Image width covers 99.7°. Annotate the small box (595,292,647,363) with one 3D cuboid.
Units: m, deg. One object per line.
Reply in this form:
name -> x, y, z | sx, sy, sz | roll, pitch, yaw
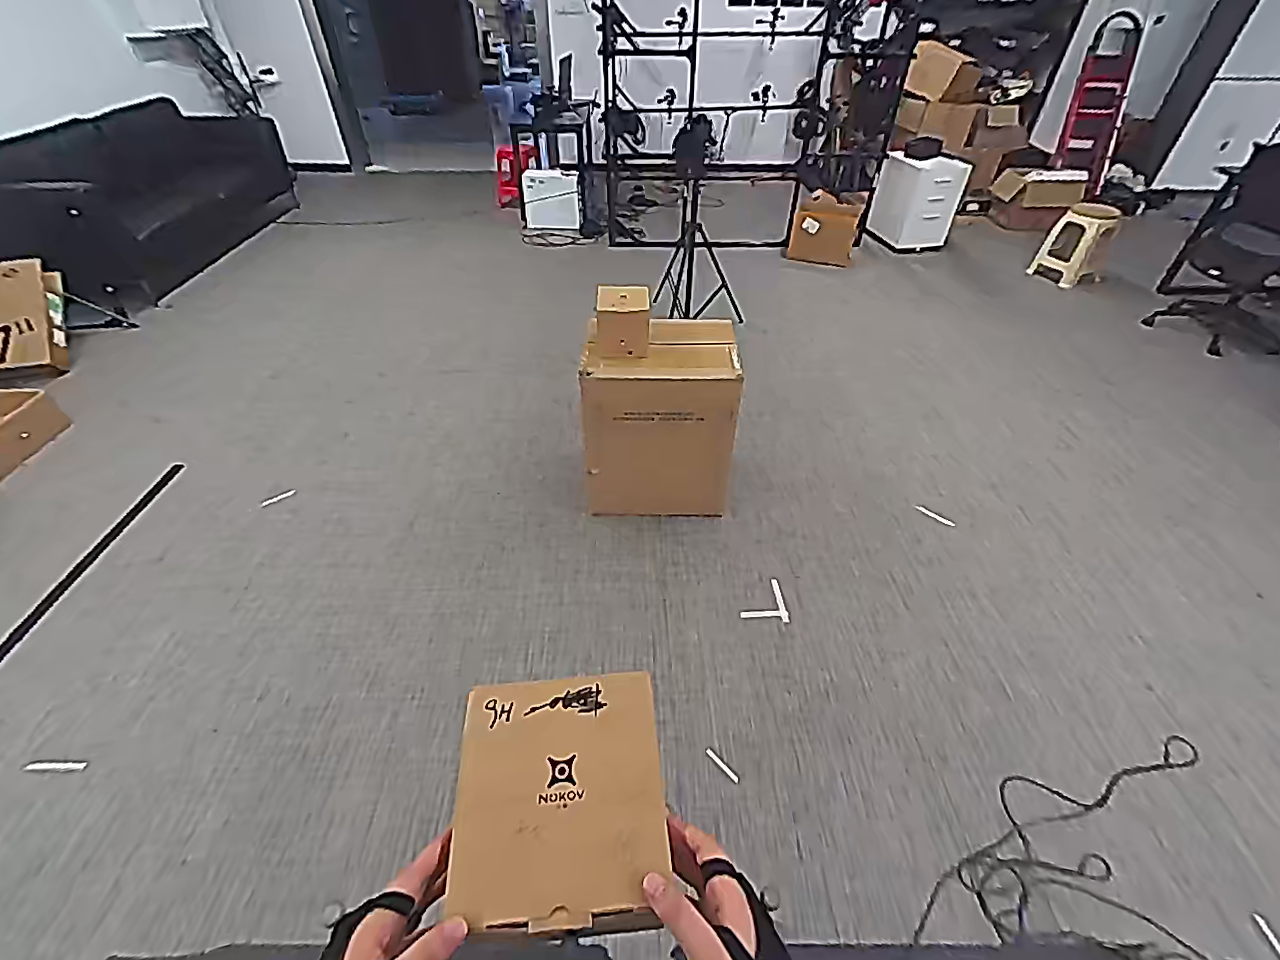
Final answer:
small box -> -0.062, -0.504, 1.787 | 0.168, 0.176, 0.179 | -1, 43, -2
